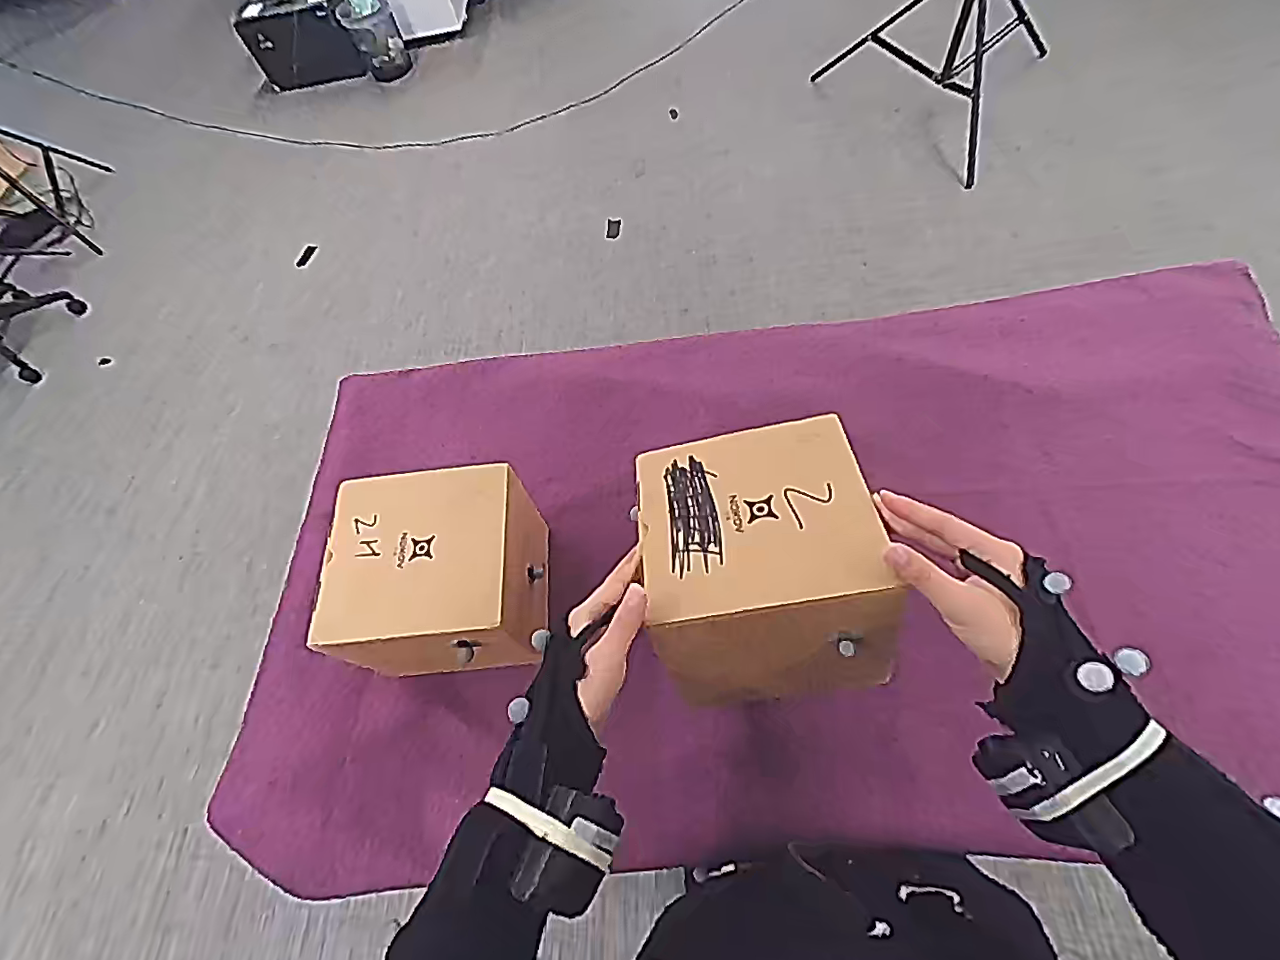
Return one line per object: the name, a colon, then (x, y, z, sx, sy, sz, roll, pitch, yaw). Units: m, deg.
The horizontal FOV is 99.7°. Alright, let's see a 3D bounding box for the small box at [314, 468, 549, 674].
small box: (-0.199, 0.104, 0.578, 0.179, 0.176, 0.168, -6, 61, 3)
